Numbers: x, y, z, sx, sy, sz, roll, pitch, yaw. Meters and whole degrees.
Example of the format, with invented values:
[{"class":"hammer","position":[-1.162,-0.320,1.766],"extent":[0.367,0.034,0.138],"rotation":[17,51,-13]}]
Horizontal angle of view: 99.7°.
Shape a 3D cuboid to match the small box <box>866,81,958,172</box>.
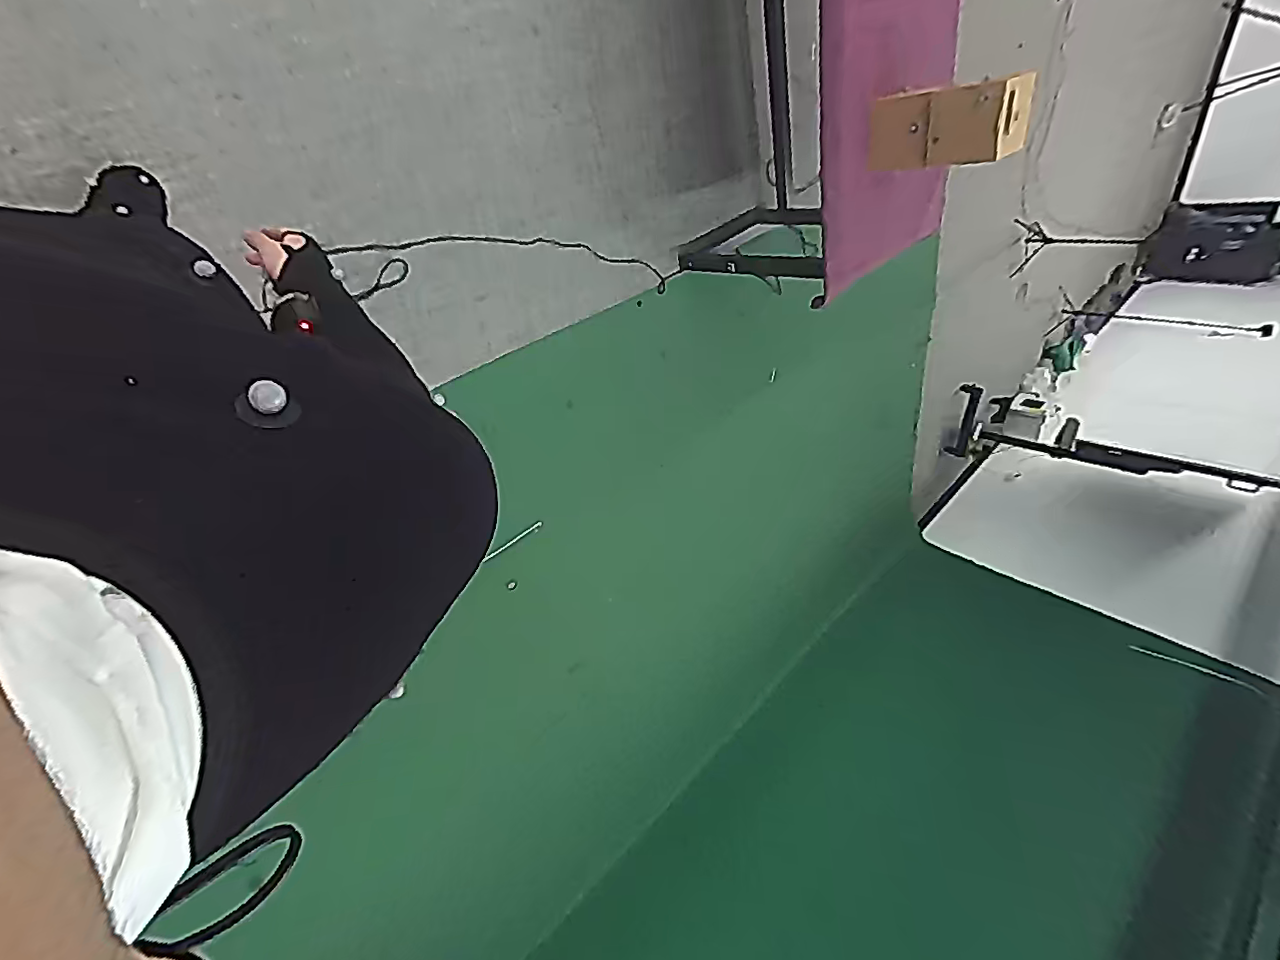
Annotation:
[{"class":"small box","position":[0.739,-0.963,1.481],"extent":[0.168,0.176,0.179],"rotation":[-33,129,-28]}]
